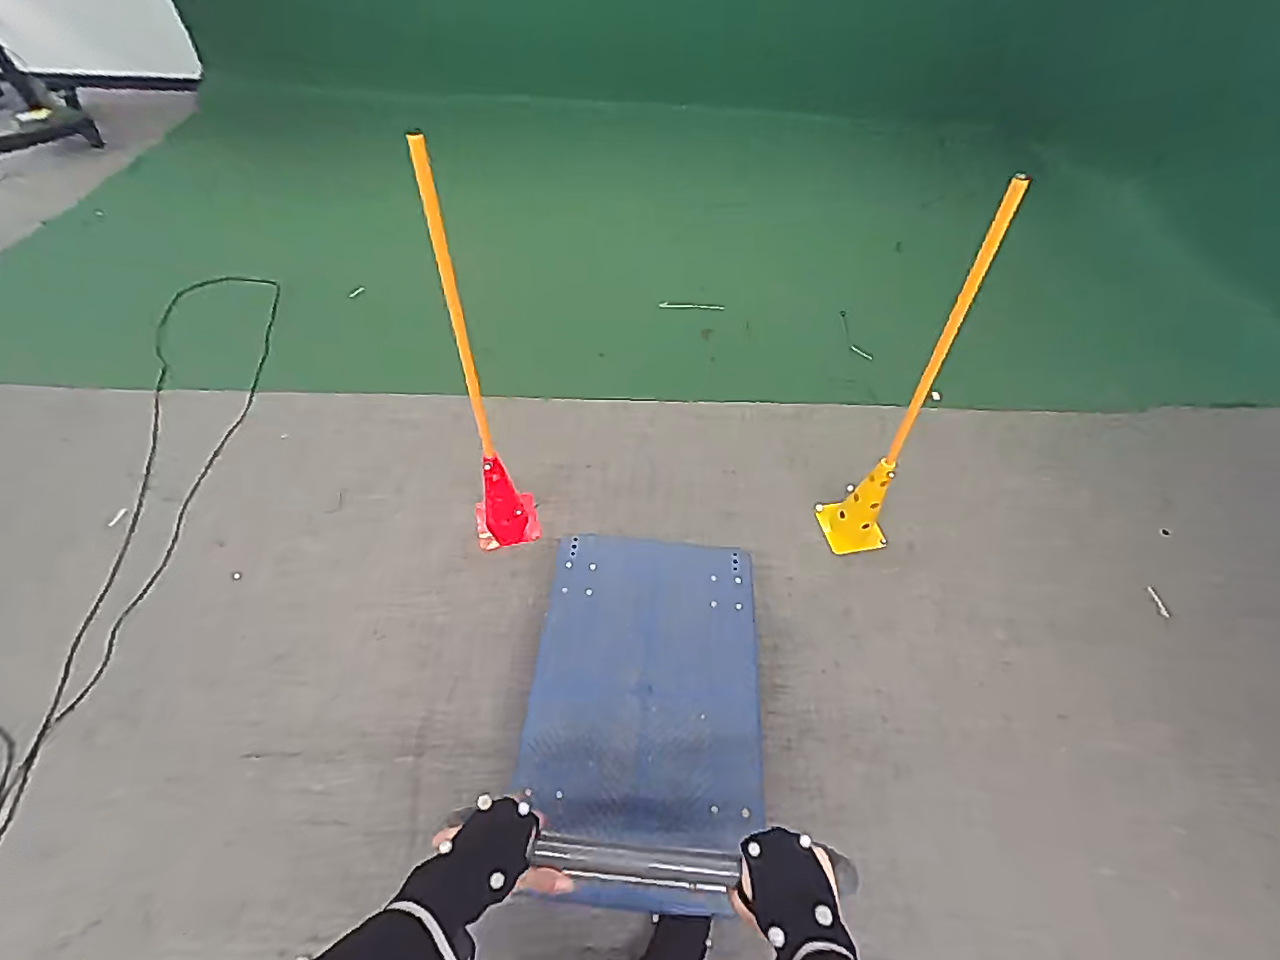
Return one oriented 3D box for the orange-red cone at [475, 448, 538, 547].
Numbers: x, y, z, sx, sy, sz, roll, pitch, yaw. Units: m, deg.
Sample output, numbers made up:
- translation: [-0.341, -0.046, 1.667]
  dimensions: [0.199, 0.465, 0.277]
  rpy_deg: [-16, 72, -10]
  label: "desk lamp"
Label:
- translation: [-0.450, 0.029, 1.701]
  dimensions: [0.199, 0.360, 0.198]
  rpy_deg: [-11, 54, -10]
  label: "orange-red cone"
